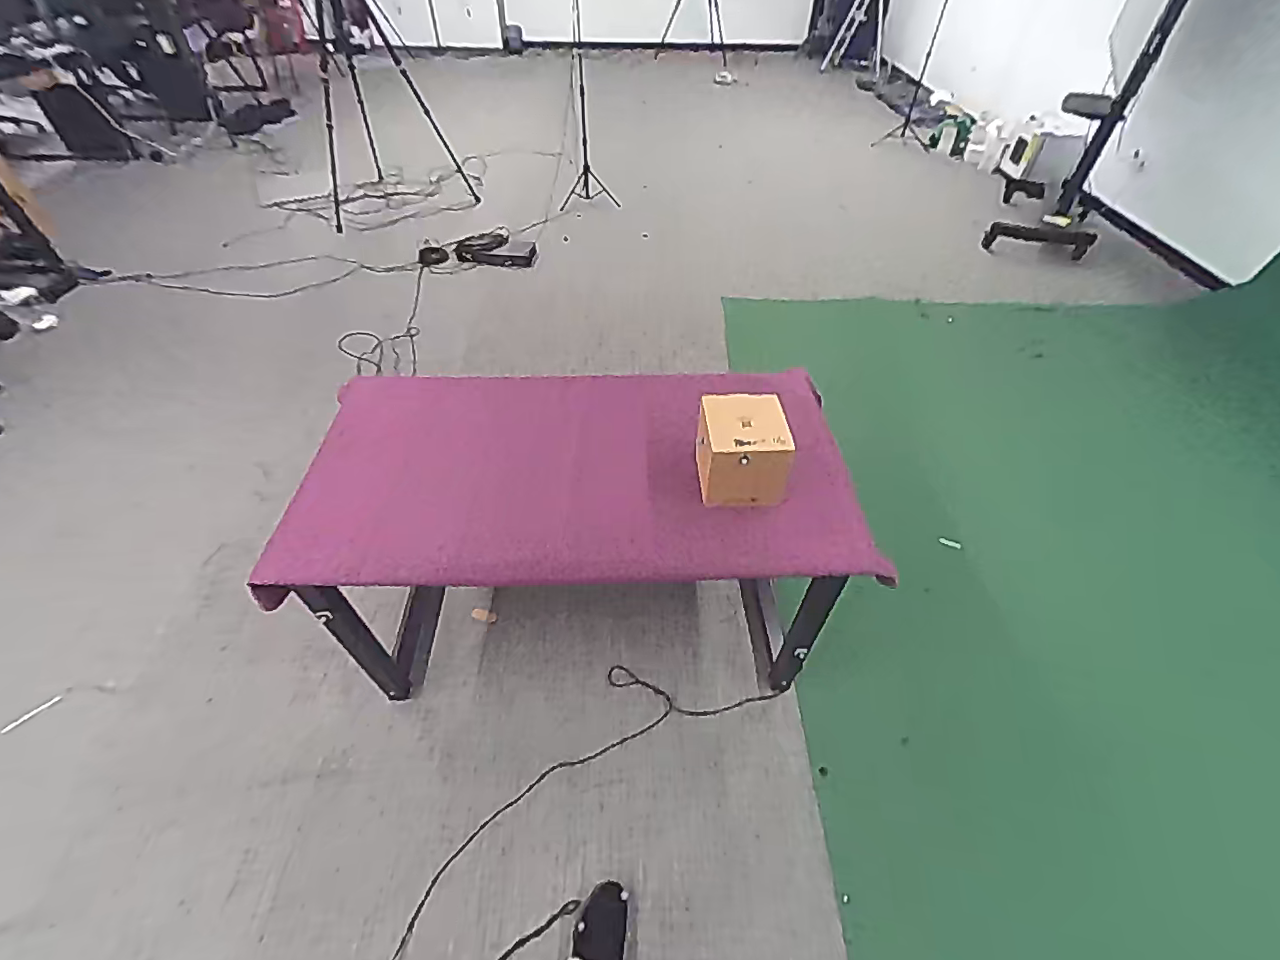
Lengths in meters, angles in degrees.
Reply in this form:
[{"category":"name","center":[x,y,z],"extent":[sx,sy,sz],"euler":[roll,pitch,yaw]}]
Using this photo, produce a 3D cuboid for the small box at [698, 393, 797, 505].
[{"category":"small box","center":[0.217,-0.066,1.150],"extent":[0.168,0.176,0.179],"euler":[-2,46,-1]}]
